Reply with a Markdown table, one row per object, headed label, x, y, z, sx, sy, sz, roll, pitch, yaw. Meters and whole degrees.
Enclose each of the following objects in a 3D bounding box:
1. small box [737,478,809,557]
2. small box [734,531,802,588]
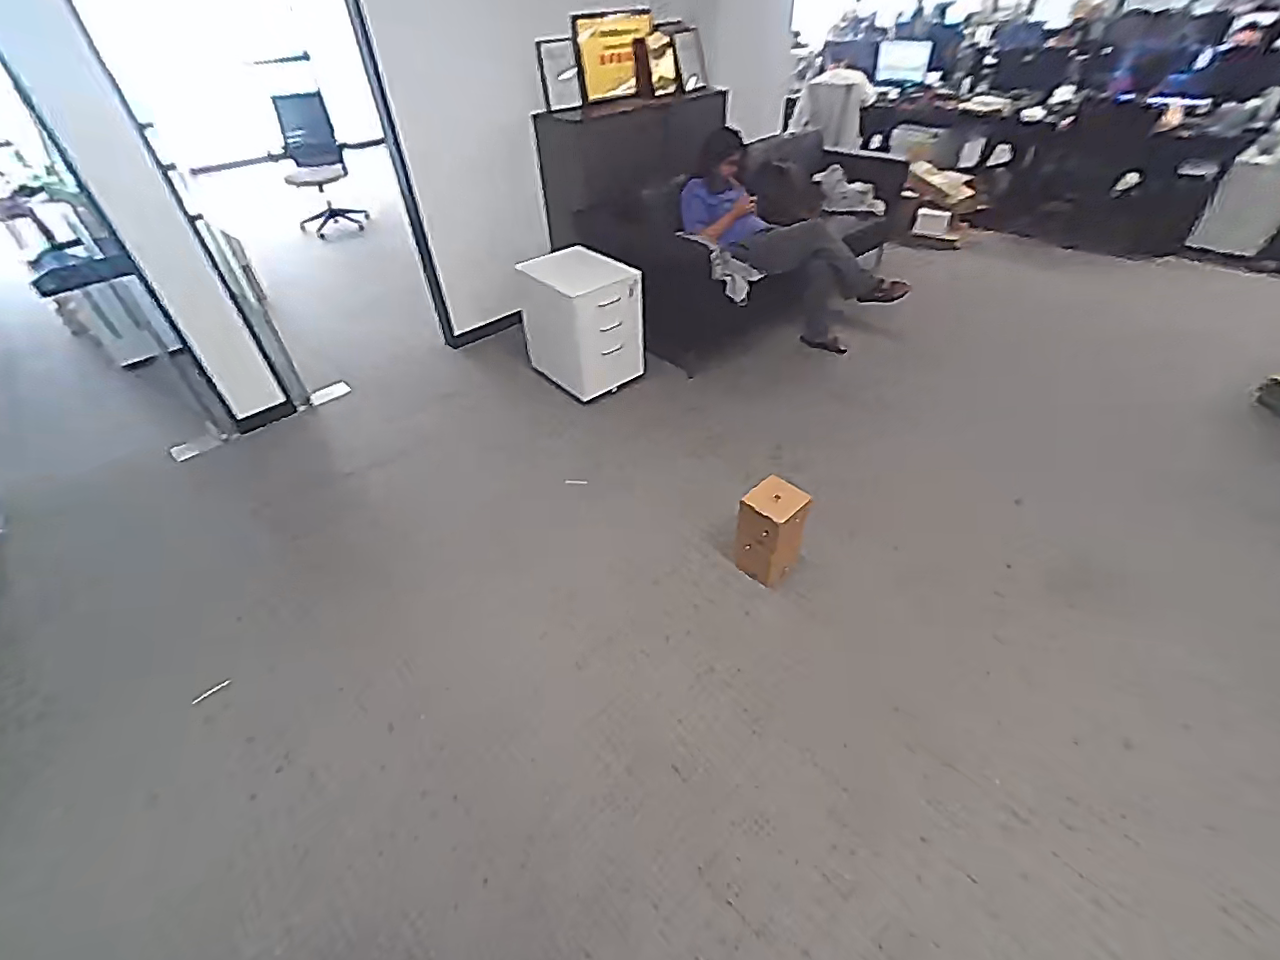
| label | x | y | z | sx | sy | sz | roll | pitch | yaw |
| --- | --- | --- | --- | --- | --- | --- | --- | --- | --- |
| small box | 0.448 | 0.130 | 1.847 | 0.179 | 0.176 | 0.168 | -33 | 50 | -32 |
| small box | 0.453 | 0.253 | 1.952 | 0.179 | 0.176 | 0.168 | -31 | 48 | -29 |
